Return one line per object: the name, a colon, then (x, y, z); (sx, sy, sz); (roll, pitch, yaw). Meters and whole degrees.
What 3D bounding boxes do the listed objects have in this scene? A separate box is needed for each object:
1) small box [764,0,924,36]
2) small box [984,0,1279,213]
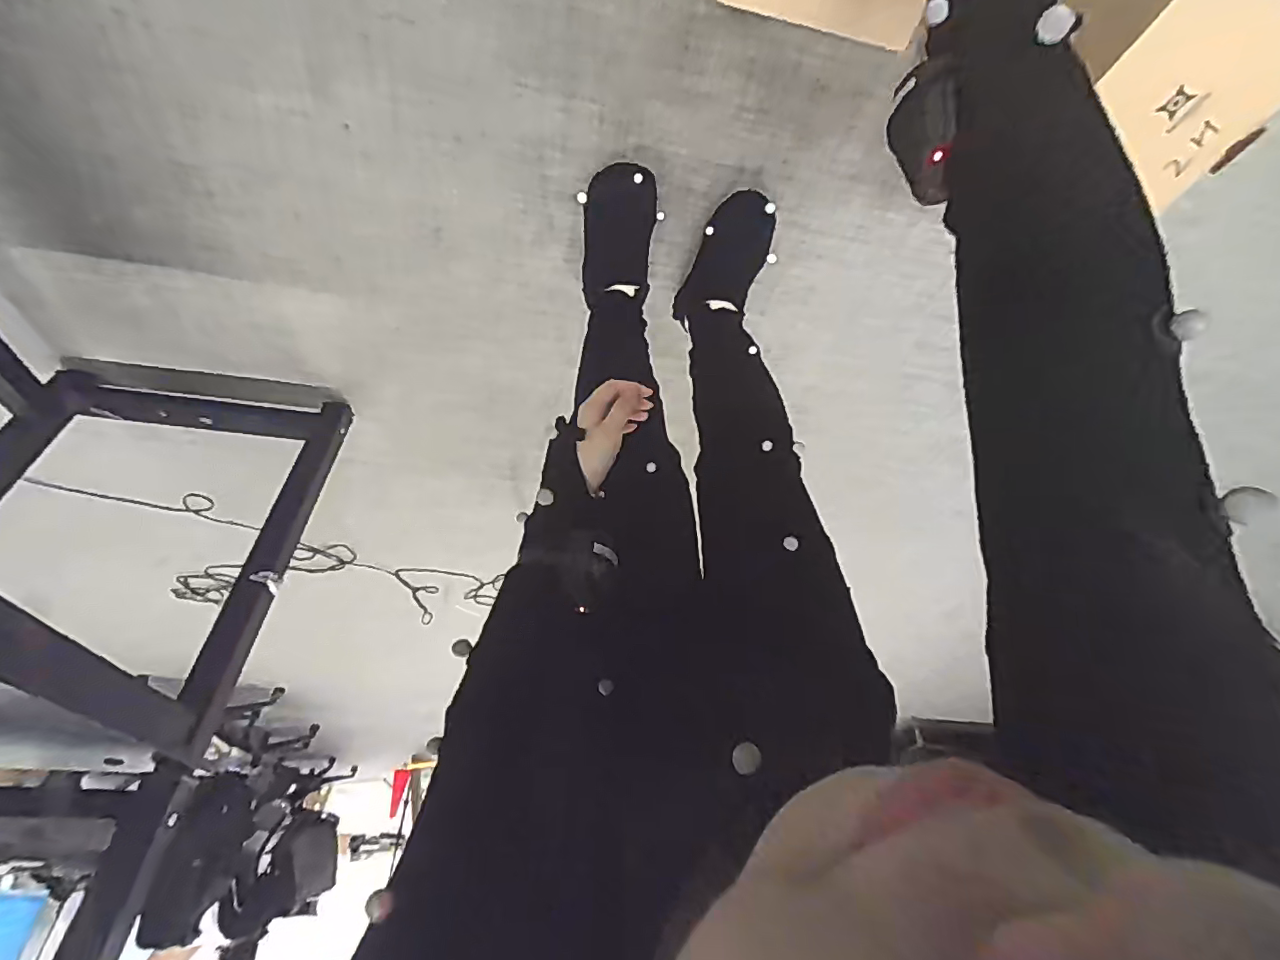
small box: (0.153, -0.482, 0.407); (0.168, 0.176, 0.179); (7, 141, -8)
small box: (0.475, -0.399, 0.512); (0.179, 0.176, 0.168); (14, 142, -18)
